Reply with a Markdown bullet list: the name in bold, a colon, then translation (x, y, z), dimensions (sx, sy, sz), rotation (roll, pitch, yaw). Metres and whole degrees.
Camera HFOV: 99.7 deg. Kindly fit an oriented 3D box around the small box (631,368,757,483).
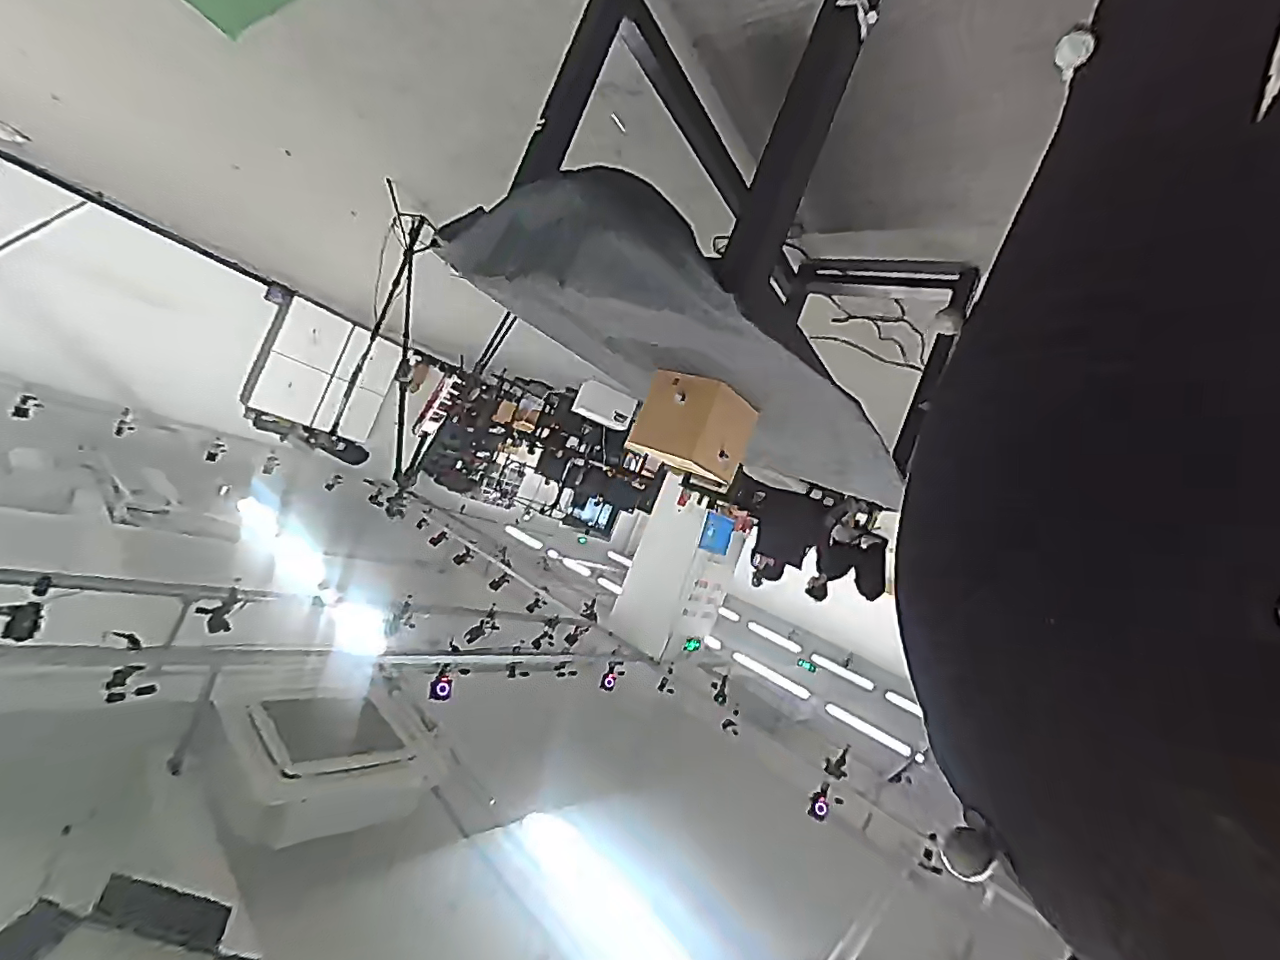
- **small box**: translation (0.119, -0.114, 1.128), dimensions (0.168, 0.176, 0.179), rotation (20, 177, 39)
